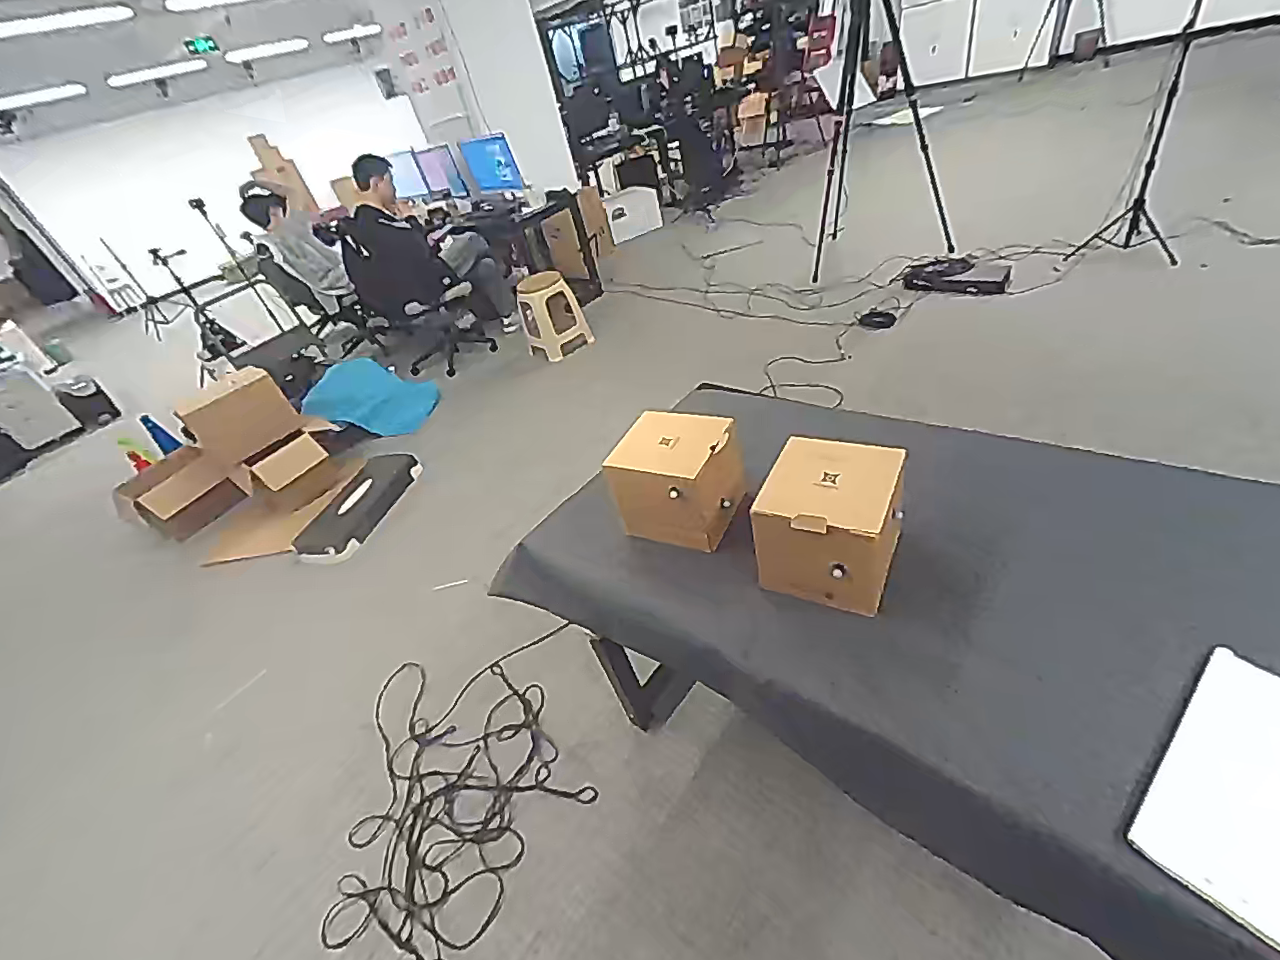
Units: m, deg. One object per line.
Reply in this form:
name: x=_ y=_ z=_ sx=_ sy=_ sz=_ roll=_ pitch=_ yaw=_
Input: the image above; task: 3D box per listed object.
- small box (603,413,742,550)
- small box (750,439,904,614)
small box: x=0.065 y=0.001 z=0.949 sx=0.179 sy=0.176 sz=0.168 roll=9 pitch=44 yaw=29
small box: x=0.275 y=0.065 z=0.787 sx=0.168 sy=0.176 sz=0.179 roll=11 pitch=44 yaw=30
